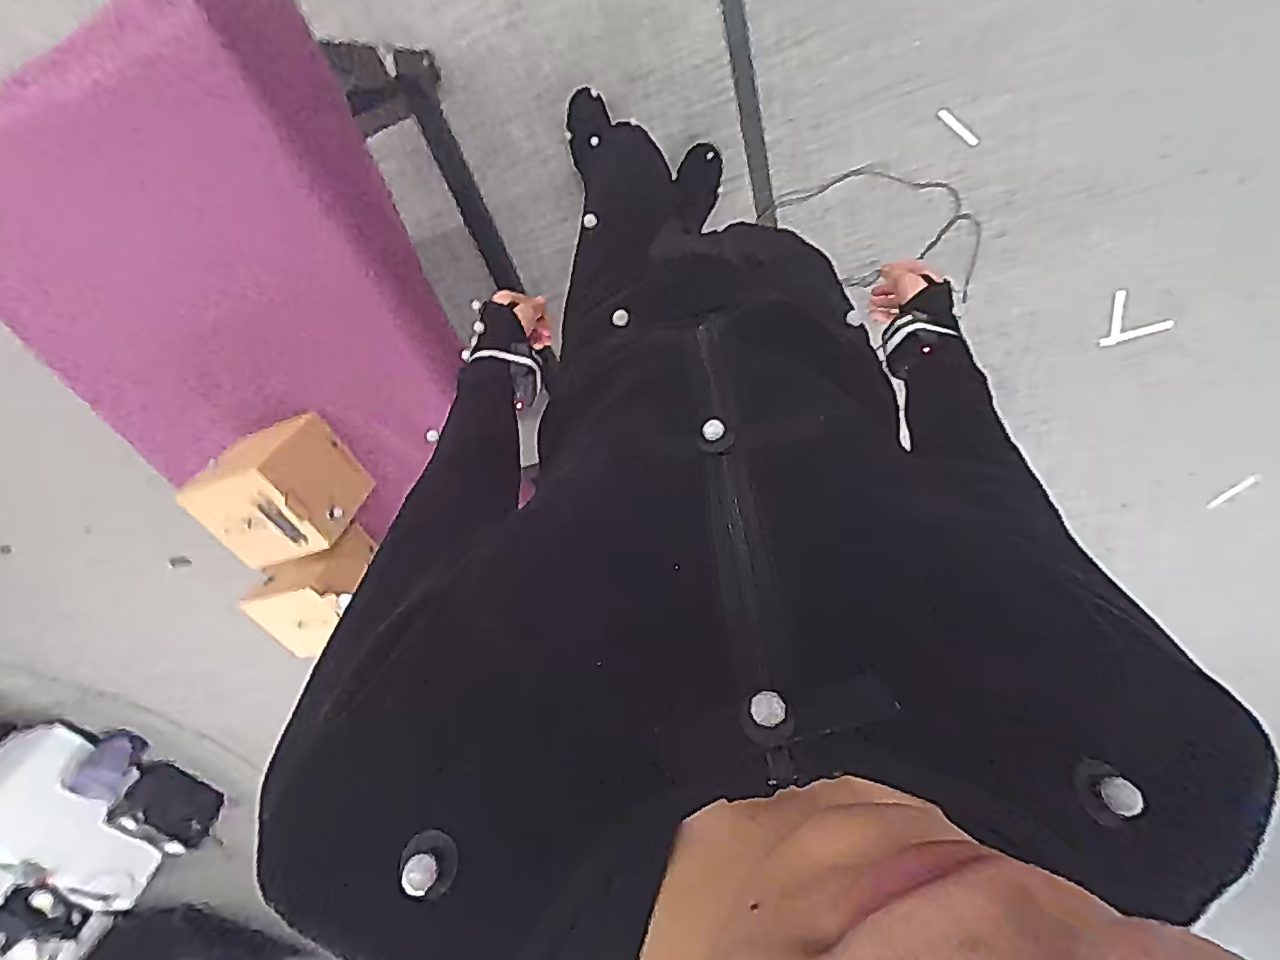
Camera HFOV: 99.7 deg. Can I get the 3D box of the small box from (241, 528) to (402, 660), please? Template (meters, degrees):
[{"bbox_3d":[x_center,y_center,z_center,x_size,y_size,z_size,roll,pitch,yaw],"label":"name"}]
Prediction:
[{"bbox_3d":[-0.608,0.220,1.056,0.179,0.176,0.168,-16,125,14],"label":"small box"}]
